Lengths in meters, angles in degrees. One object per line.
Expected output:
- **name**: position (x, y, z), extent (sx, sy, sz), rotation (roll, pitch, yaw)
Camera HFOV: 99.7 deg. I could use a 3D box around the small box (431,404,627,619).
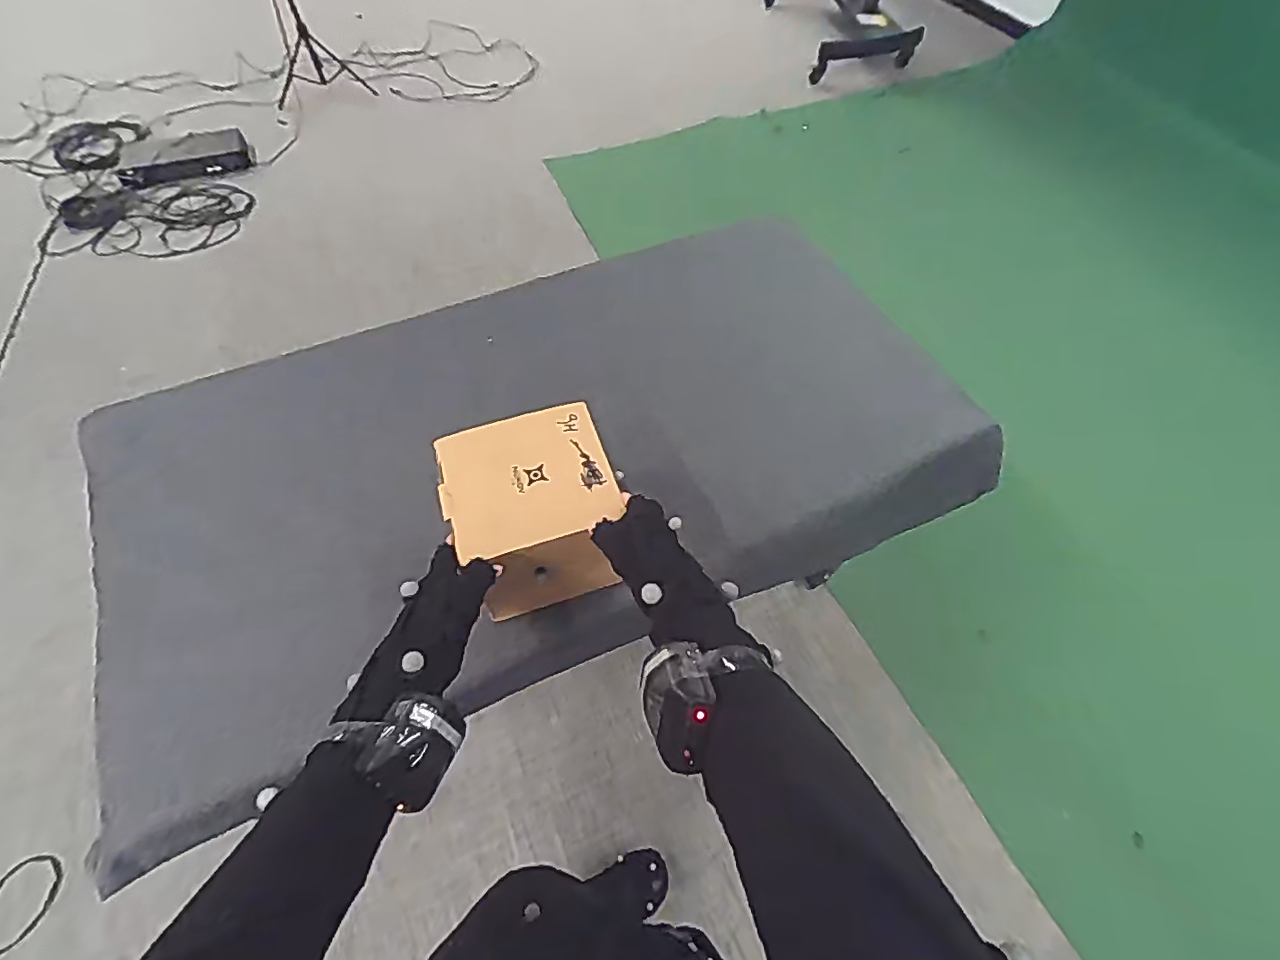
- **small box**: position (-0.123, 0.044, 0.637), extent (0.179, 0.176, 0.168), rotation (-17, 59, -9)
